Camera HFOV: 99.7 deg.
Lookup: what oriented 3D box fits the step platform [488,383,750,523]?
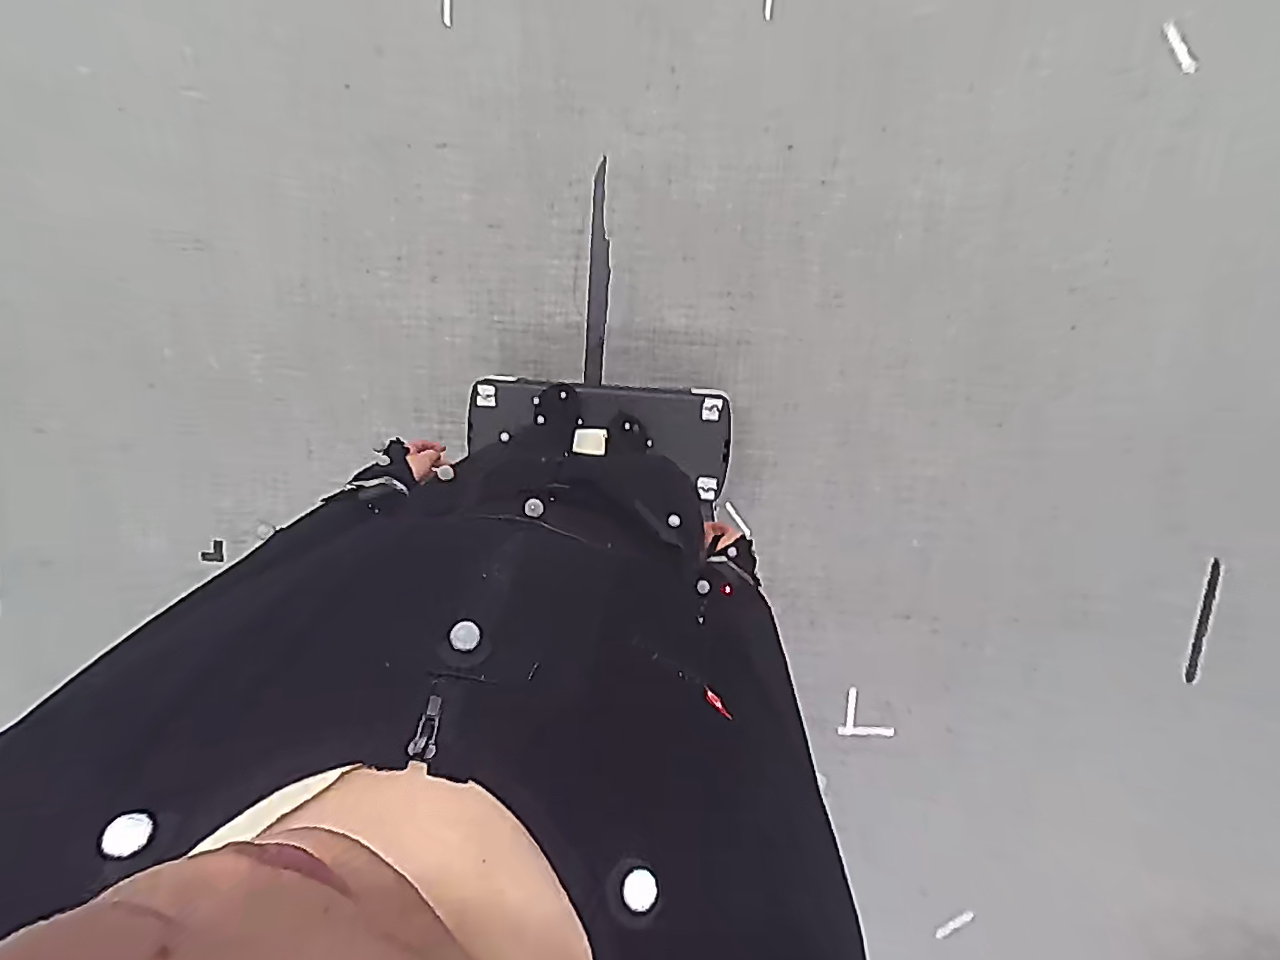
[{"bbox_3d":[-0.055,-0.076,1.450,0.684,0.204,0.286,8,99,0],"label":"step platform"}]
